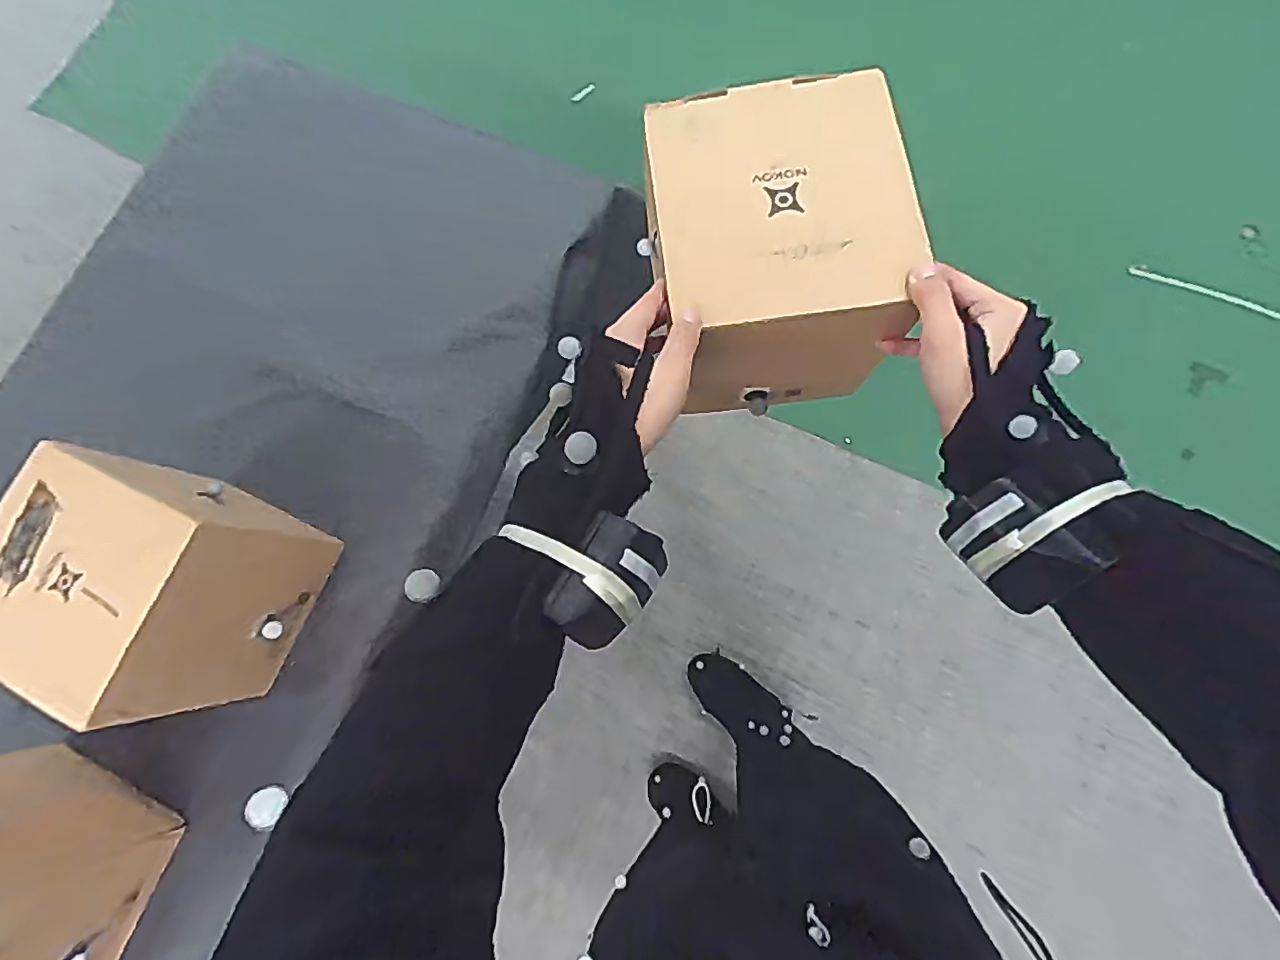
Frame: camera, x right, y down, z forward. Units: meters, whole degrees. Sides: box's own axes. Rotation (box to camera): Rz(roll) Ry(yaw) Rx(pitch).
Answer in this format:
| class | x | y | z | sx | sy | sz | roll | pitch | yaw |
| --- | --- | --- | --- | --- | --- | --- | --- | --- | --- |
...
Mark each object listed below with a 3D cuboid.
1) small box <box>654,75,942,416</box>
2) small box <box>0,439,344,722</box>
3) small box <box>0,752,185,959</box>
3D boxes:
| class | x | y | z | sx | sy | sz | roll | pitch | yaw |
| --- | --- | --- | --- | --- | --- | --- | --- | --- | --- |
| small box | 0.103 | -0.168 | 0.433 | 0.168 | 0.176 | 0.179 | -8 | 78 | 3 |
| small box | -0.422 | 0.087 | 0.489 | 0.179 | 0.176 | 0.168 | 22 | 82 | 12 |
| small box | -0.554 | 0.353 | 0.450 | 0.179 | 0.176 | 0.168 | 21 | 81 | 11 |
